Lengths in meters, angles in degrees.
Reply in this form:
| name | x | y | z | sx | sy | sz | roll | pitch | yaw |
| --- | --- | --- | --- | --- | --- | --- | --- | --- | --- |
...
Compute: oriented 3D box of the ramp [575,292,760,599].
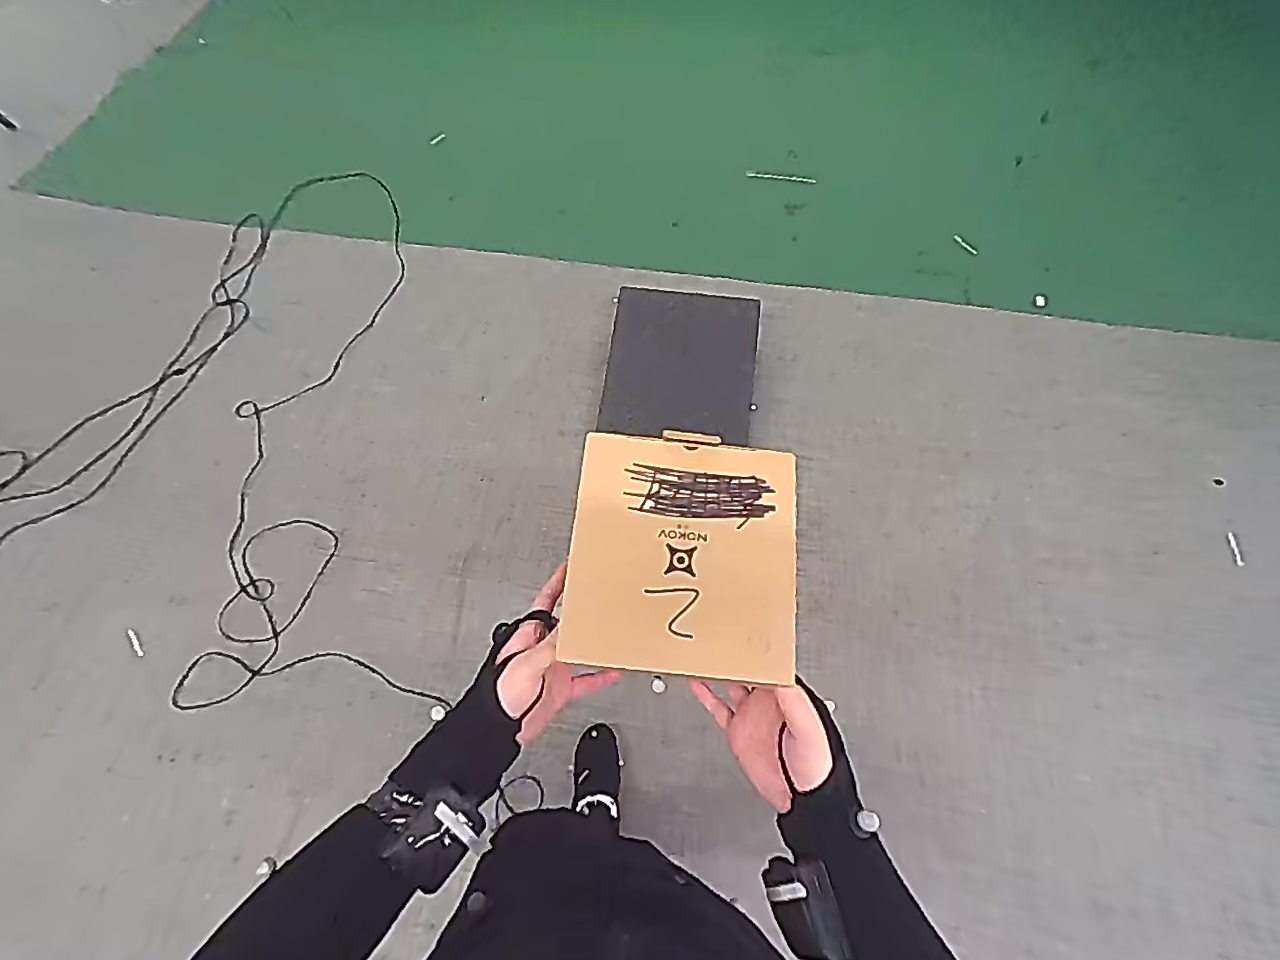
| name | x | y | z | sx | sy | sz | roll | pitch | yaw |
| --- | --- | --- | --- | --- | --- | --- | --- | --- | --- |
| ramp | 0.110 | -0.150 | 1.728 | 0.509 | 0.206 | 0.991 | 6 | 64 | 2 |
